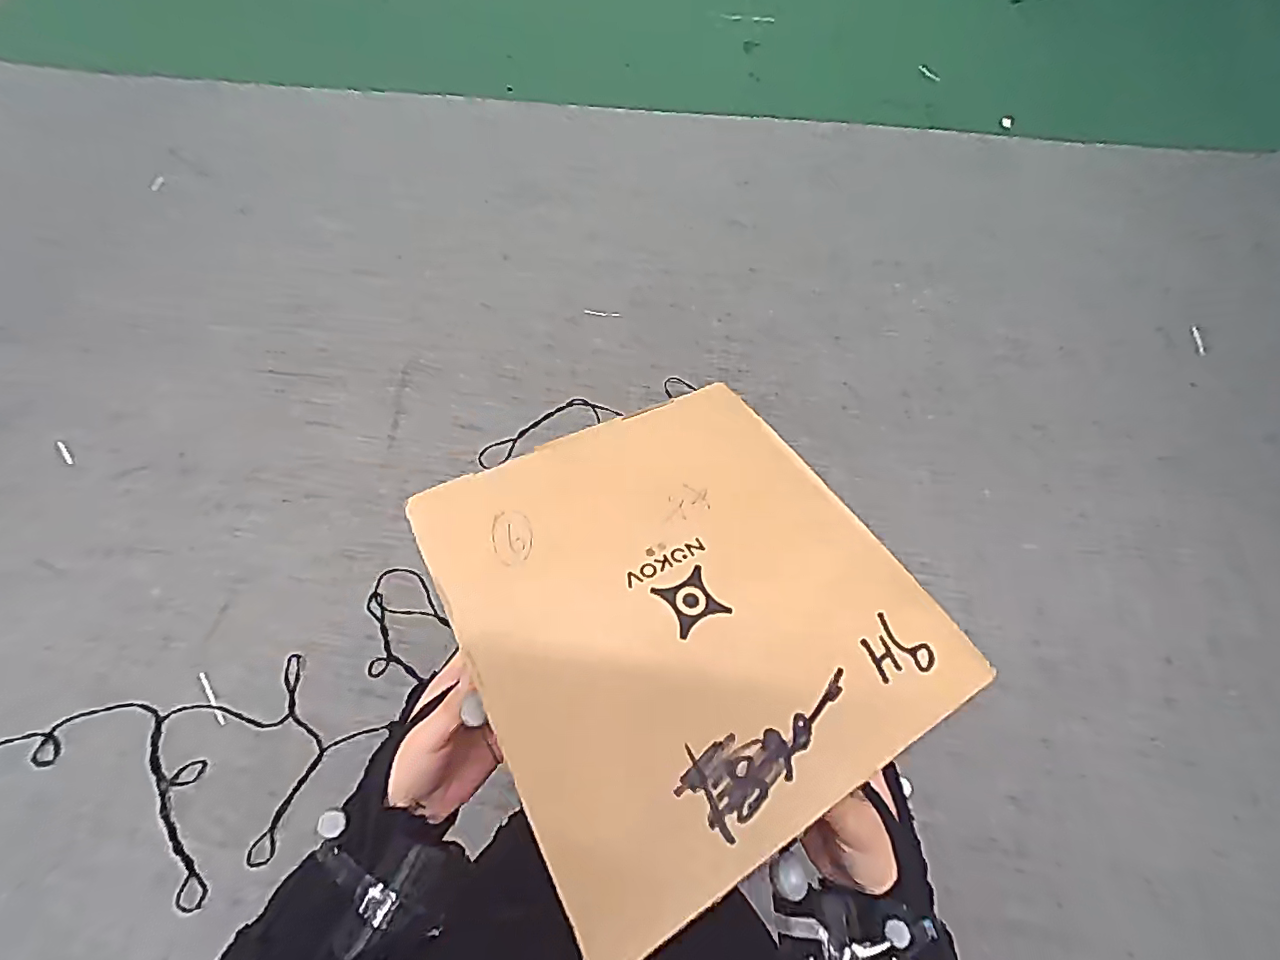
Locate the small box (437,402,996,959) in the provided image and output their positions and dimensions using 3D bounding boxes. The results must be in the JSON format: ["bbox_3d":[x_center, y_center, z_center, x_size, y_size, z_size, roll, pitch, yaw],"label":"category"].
[{"bbox_3d":[0.018,0.096,0.281,0.168,0.176,0.179,-24,58,-20],"label":"small box"}]
